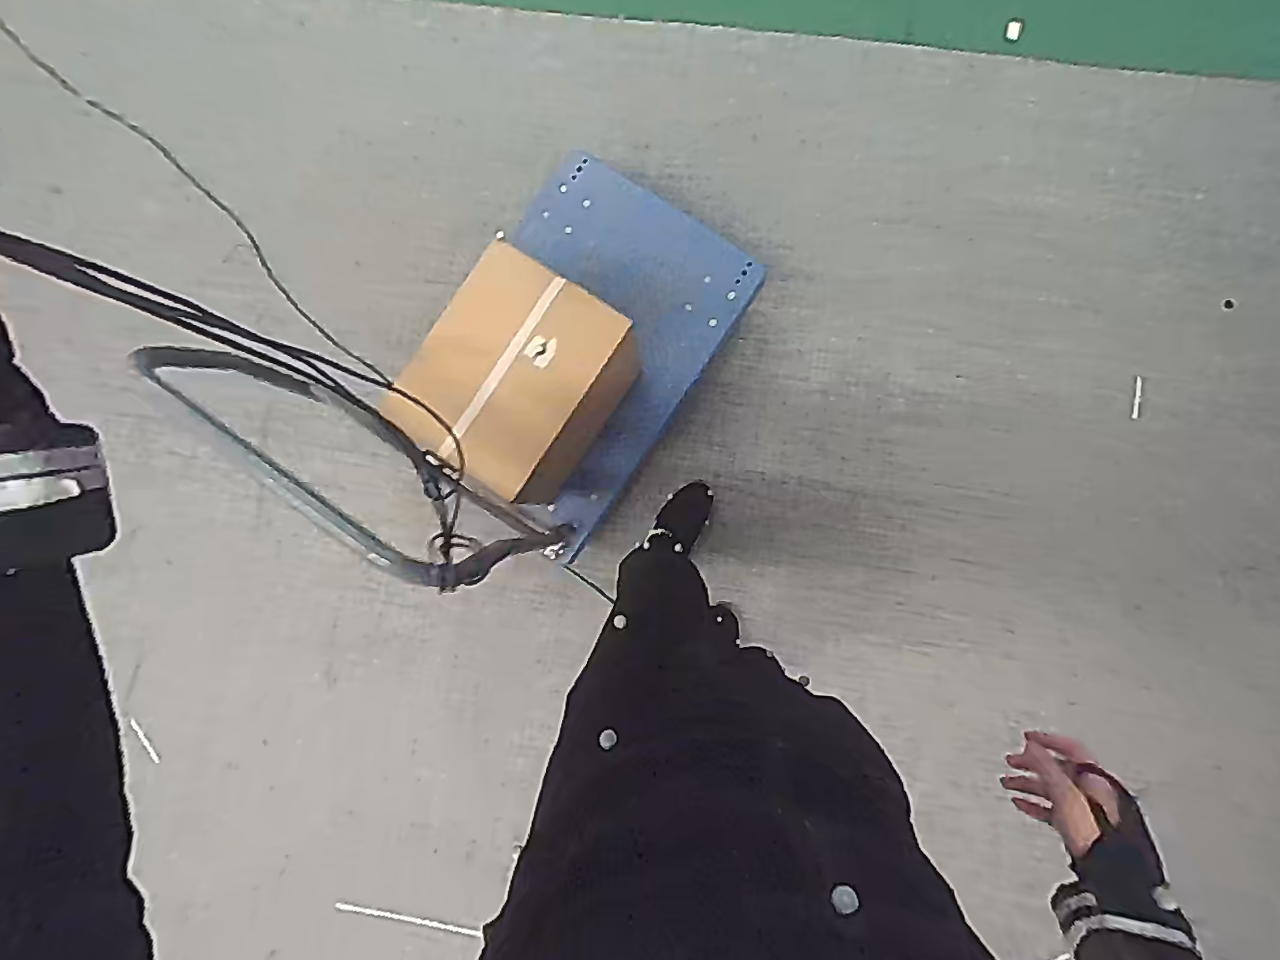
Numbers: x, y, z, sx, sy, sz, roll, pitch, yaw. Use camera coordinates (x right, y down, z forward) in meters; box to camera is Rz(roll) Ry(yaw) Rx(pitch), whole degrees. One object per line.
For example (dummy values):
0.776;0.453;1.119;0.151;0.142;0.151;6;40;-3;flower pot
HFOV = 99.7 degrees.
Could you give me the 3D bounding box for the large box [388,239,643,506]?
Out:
-0.231;-0.194;1.140;0.320;0.320;0.408;33;88;4;large box
